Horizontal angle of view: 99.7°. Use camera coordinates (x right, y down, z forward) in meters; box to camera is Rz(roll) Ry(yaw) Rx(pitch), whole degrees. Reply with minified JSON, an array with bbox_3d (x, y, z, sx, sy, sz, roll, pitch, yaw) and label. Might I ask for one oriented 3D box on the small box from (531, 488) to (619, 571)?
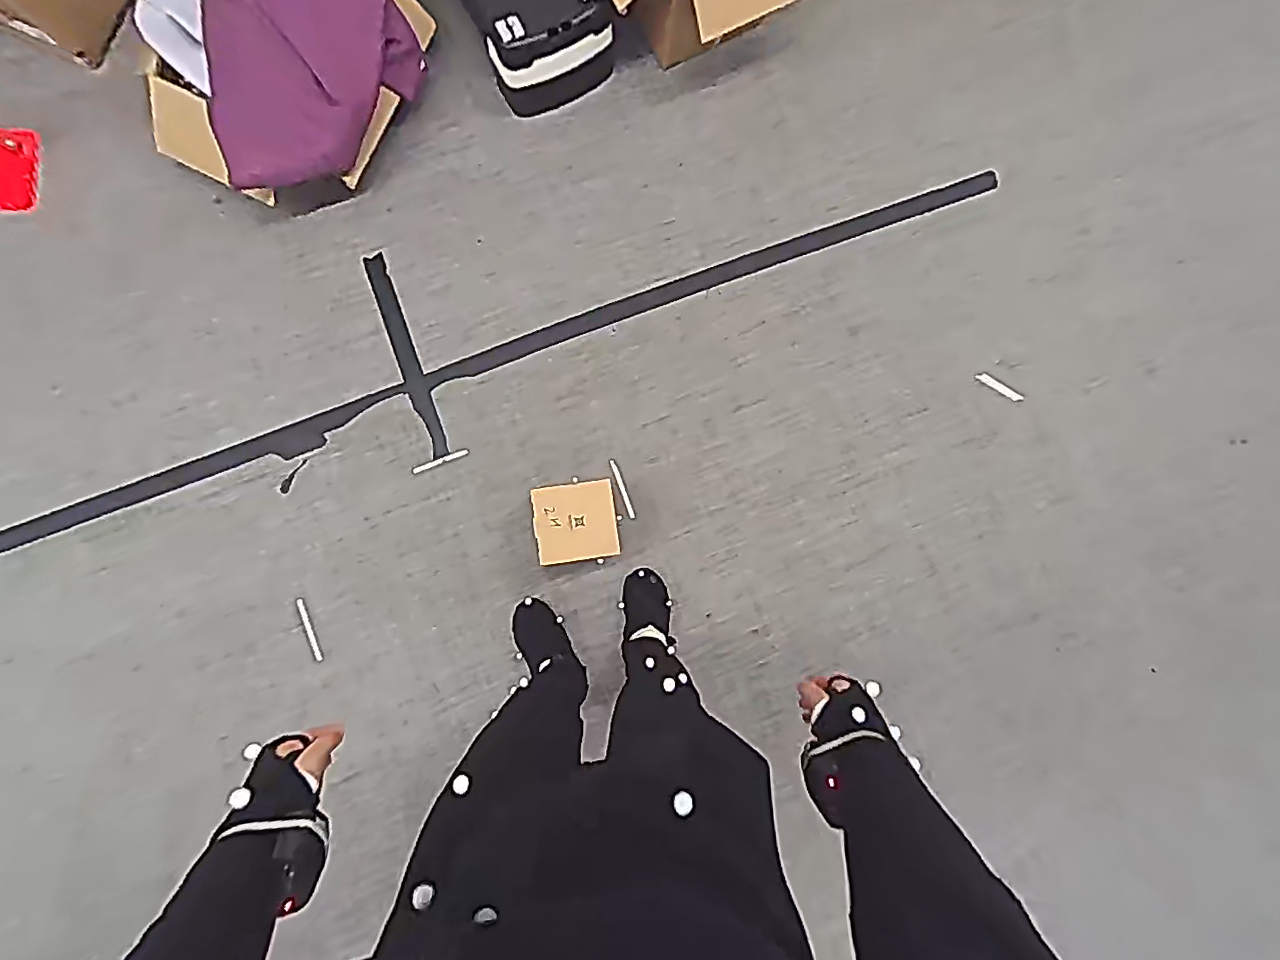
[{"bbox_3d":[-0.147,0.110,1.242,0.179,0.176,0.168,-7,86,-4],"label":"small box"}]
